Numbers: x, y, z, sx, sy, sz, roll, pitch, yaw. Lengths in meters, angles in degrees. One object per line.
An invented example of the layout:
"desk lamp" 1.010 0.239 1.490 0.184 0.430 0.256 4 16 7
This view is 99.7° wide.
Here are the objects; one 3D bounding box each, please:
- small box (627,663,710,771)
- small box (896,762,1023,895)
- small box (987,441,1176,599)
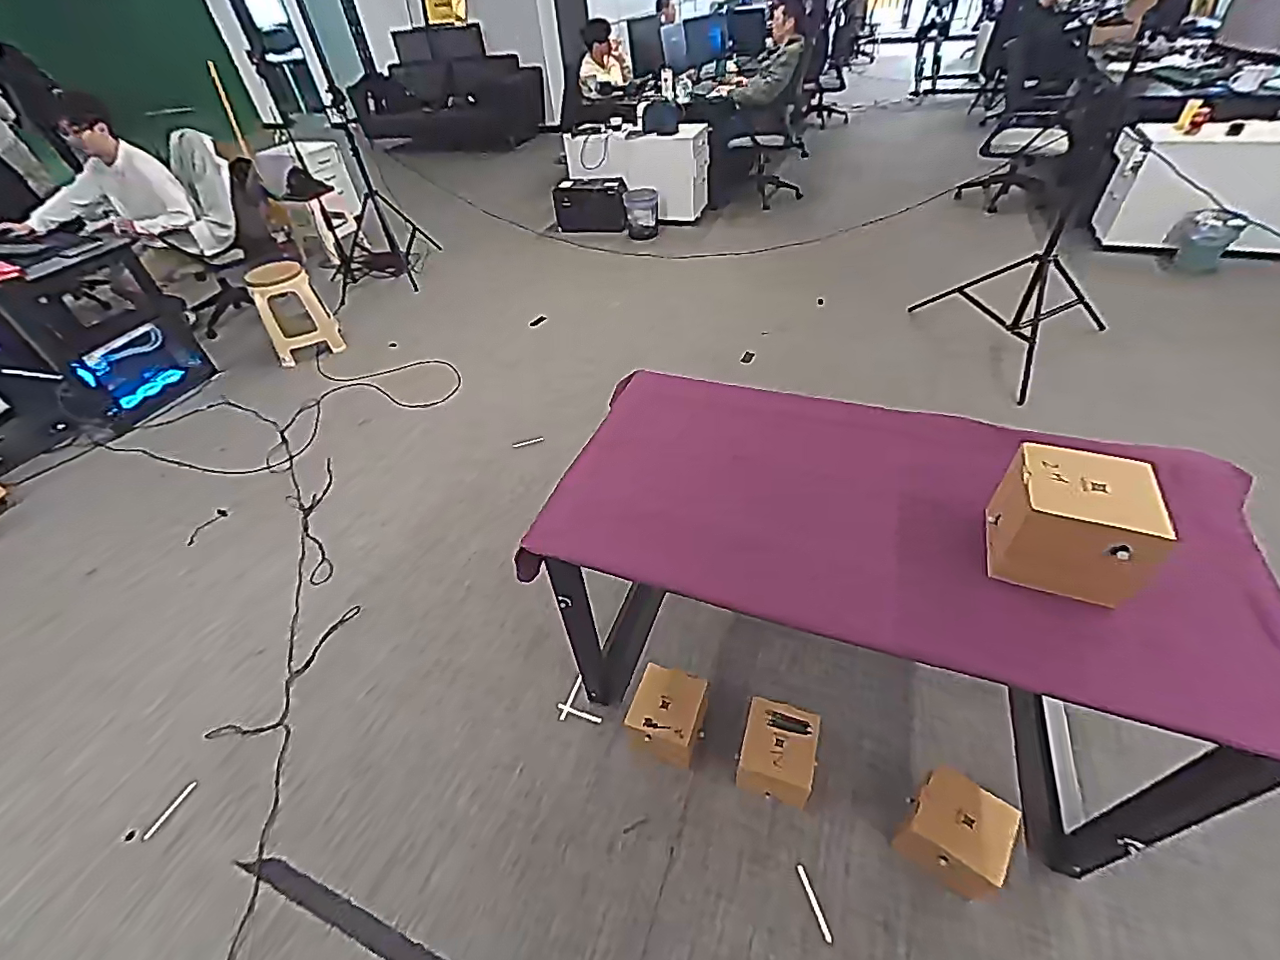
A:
"small box" 0.077 0.619 1.412 0.168 0.176 0.179 13 46 19
"small box" 0.694 0.768 1.188 0.179 0.176 0.168 25 52 30
"small box" 0.684 0.065 0.864 0.179 0.176 0.168 13 46 20
